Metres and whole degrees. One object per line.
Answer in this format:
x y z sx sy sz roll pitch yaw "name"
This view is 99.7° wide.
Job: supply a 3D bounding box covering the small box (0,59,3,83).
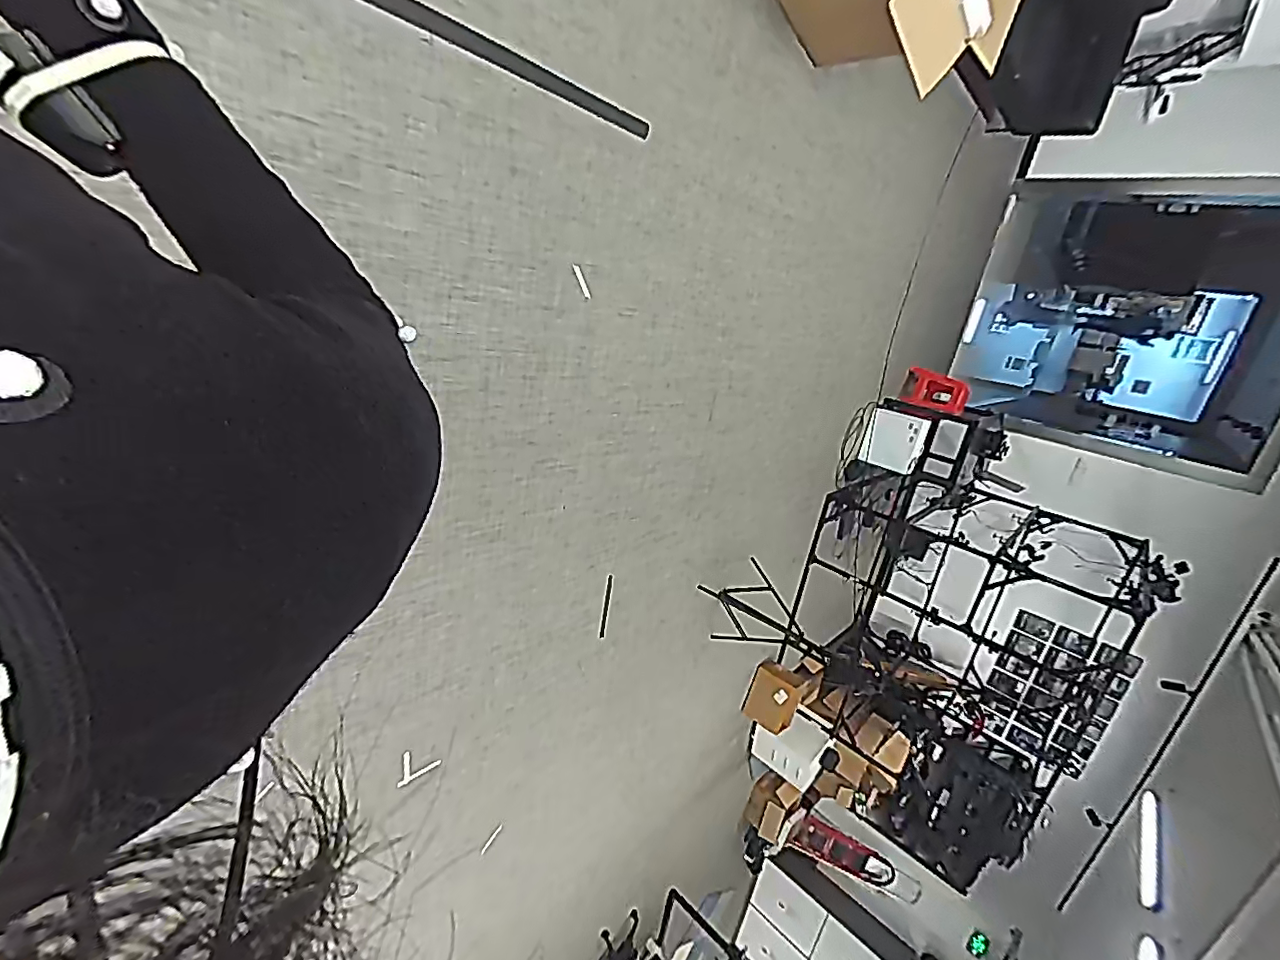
-1.042 -0.679 0.757 0.179 0.176 0.168 -11 116 -46 "small box"
